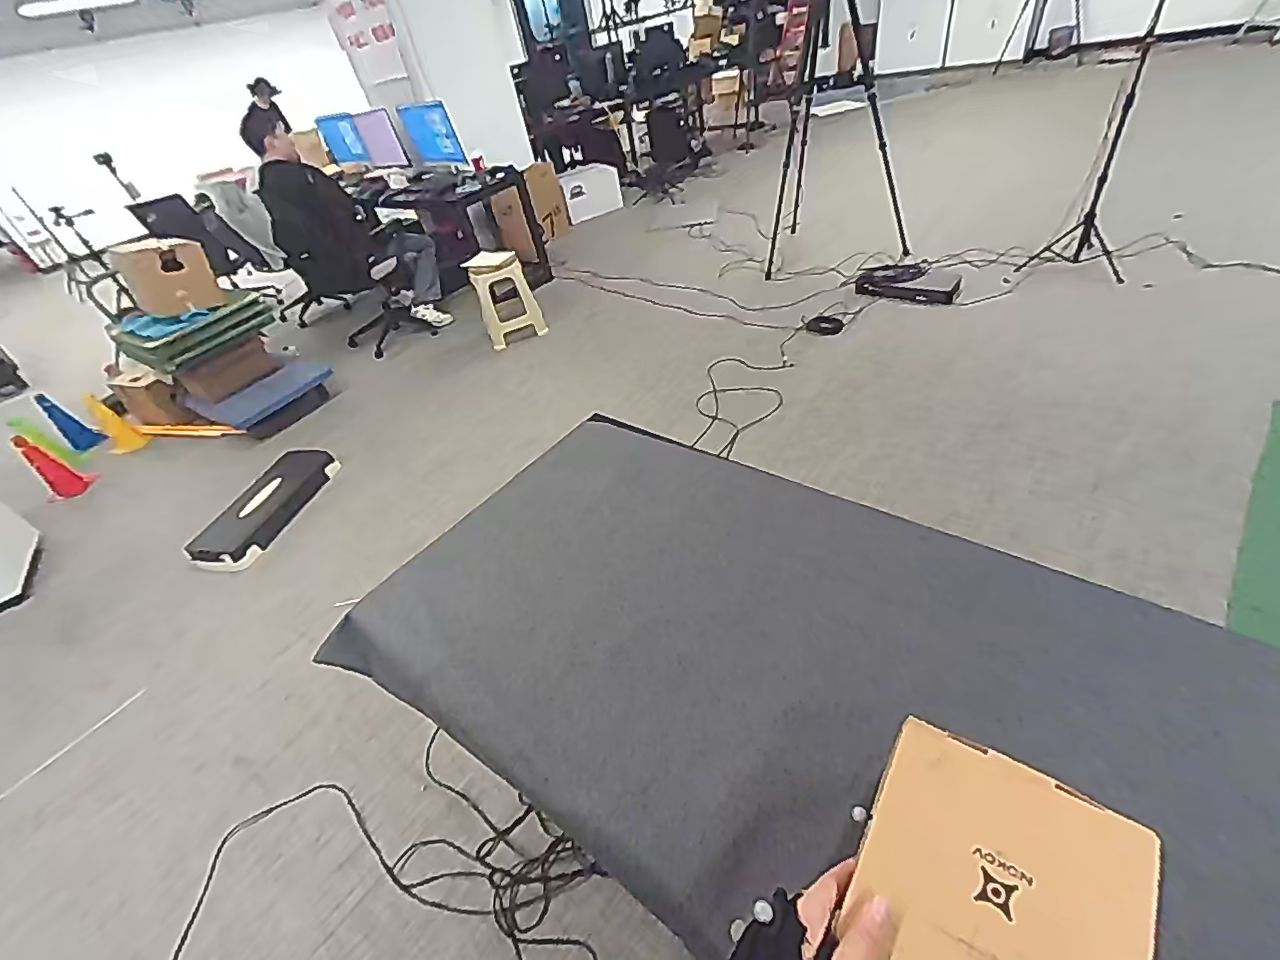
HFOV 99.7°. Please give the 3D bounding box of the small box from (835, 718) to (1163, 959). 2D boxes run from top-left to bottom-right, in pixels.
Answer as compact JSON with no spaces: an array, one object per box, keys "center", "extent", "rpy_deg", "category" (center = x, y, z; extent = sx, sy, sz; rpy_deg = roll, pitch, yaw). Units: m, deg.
[{"center":[0.261,0.332,0.425],"extent":[0.168,0.176,0.179],"rpy_deg":[19,55,31],"category":"small box"}]
